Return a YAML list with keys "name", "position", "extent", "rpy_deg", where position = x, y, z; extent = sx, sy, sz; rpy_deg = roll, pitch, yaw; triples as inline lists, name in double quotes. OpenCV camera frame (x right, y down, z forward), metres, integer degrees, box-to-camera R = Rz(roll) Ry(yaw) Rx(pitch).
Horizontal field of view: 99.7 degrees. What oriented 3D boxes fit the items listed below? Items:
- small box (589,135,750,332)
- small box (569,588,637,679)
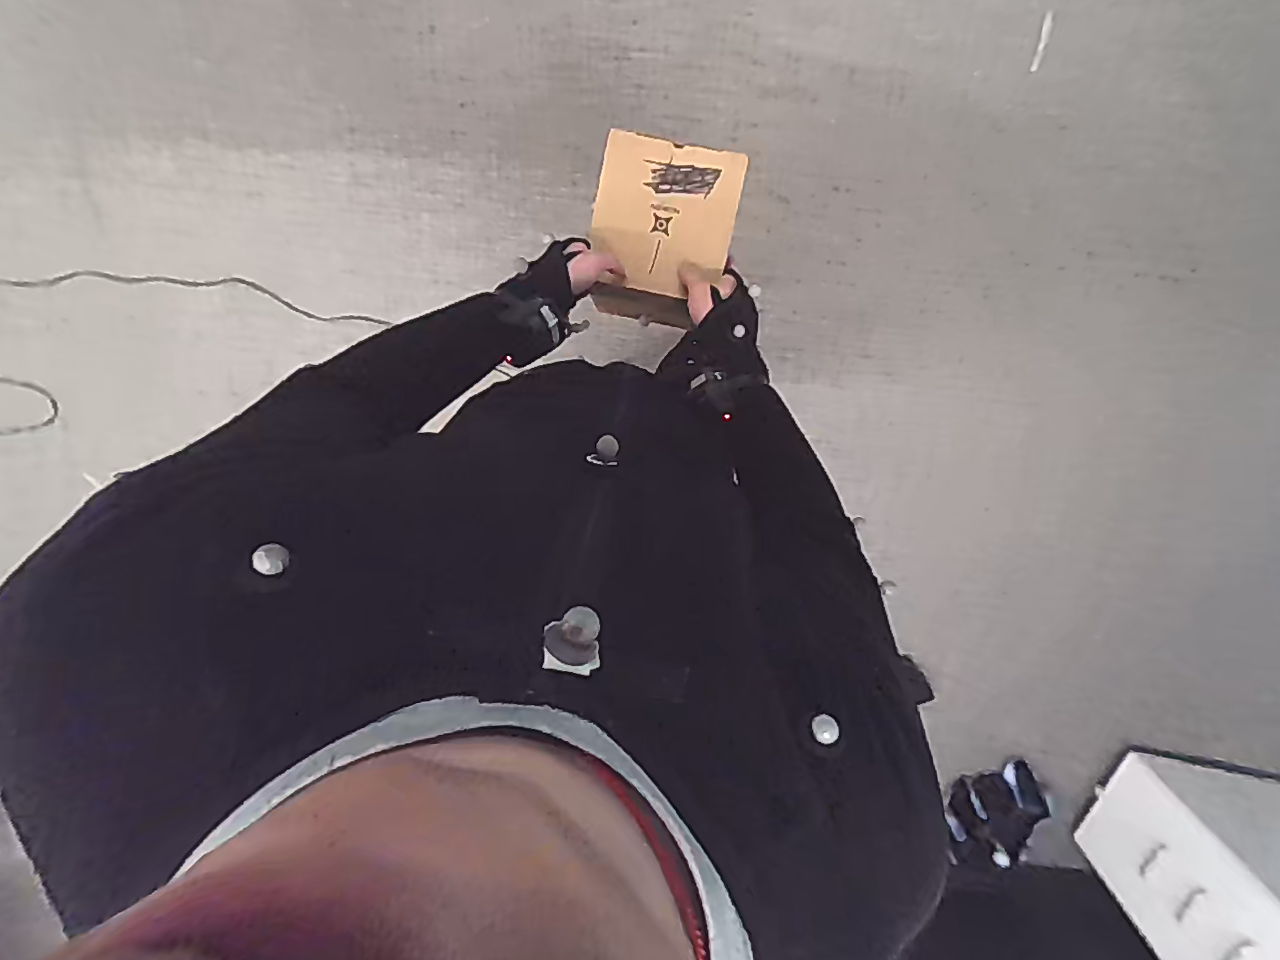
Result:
- name: "small box"
  position: [0.036, -0.311, 0.716]
  extent: [0.168, 0.176, 0.179]
  rpy_deg: [11, 95, 2]
- name: "small box"
  position: [-0.099, 0.419, 1.497]
  extent: [0.168, 0.176, 0.179]
  rpy_deg: [5, 111, 3]
